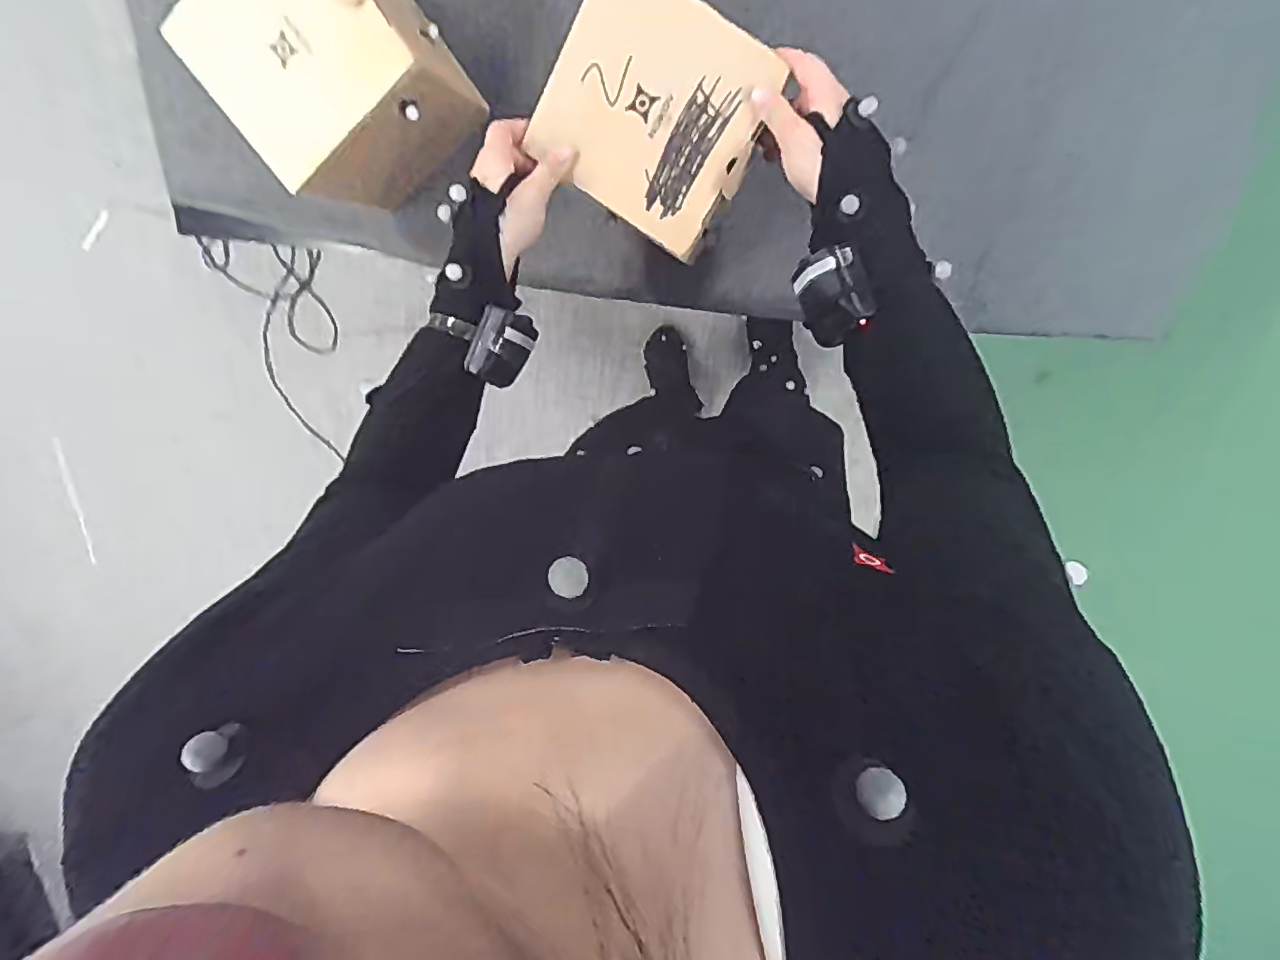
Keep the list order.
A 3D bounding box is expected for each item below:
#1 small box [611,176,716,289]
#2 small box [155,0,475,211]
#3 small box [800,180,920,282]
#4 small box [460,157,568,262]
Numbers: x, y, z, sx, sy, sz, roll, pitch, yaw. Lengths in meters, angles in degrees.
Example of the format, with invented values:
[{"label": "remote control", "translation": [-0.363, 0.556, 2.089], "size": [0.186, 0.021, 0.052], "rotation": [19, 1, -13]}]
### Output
[{"label": "small box", "translation": [0.059, -0.549, 1.217], "size": [0.179, 0.176, 0.168], "rotation": [27, 110, -1]}, {"label": "small box", "translation": [-0.300, -0.398, 0.537], "size": [0.179, 0.176, 0.168], "rotation": [-33, 103, 17]}, {"label": "small box", "translation": [0.462, -0.529, 1.172], "size": [0.179, 0.176, 0.168], "rotation": [12, 111, 2]}, {"label": "small box", "translation": [-0.283, -0.609, 1.240], "size": [0.179, 0.176, 0.168], "rotation": [19, 111, 0]}]
